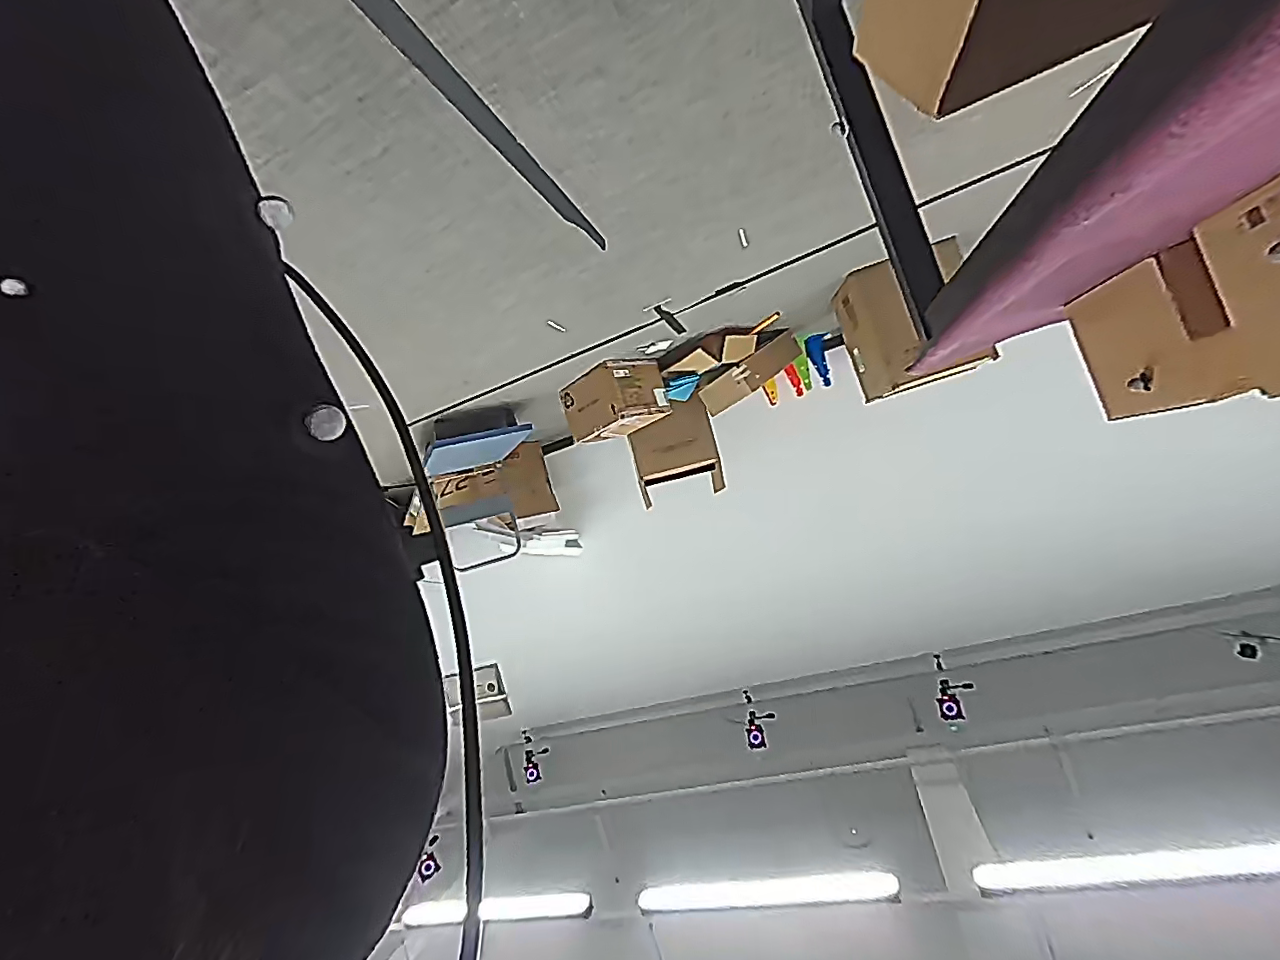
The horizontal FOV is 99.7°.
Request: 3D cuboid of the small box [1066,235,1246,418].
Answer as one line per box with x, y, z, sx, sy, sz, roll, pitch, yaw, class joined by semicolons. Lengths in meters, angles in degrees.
0.641;-0.185;0.625;0.168;0.176;0.179;-19;176;12;small box
